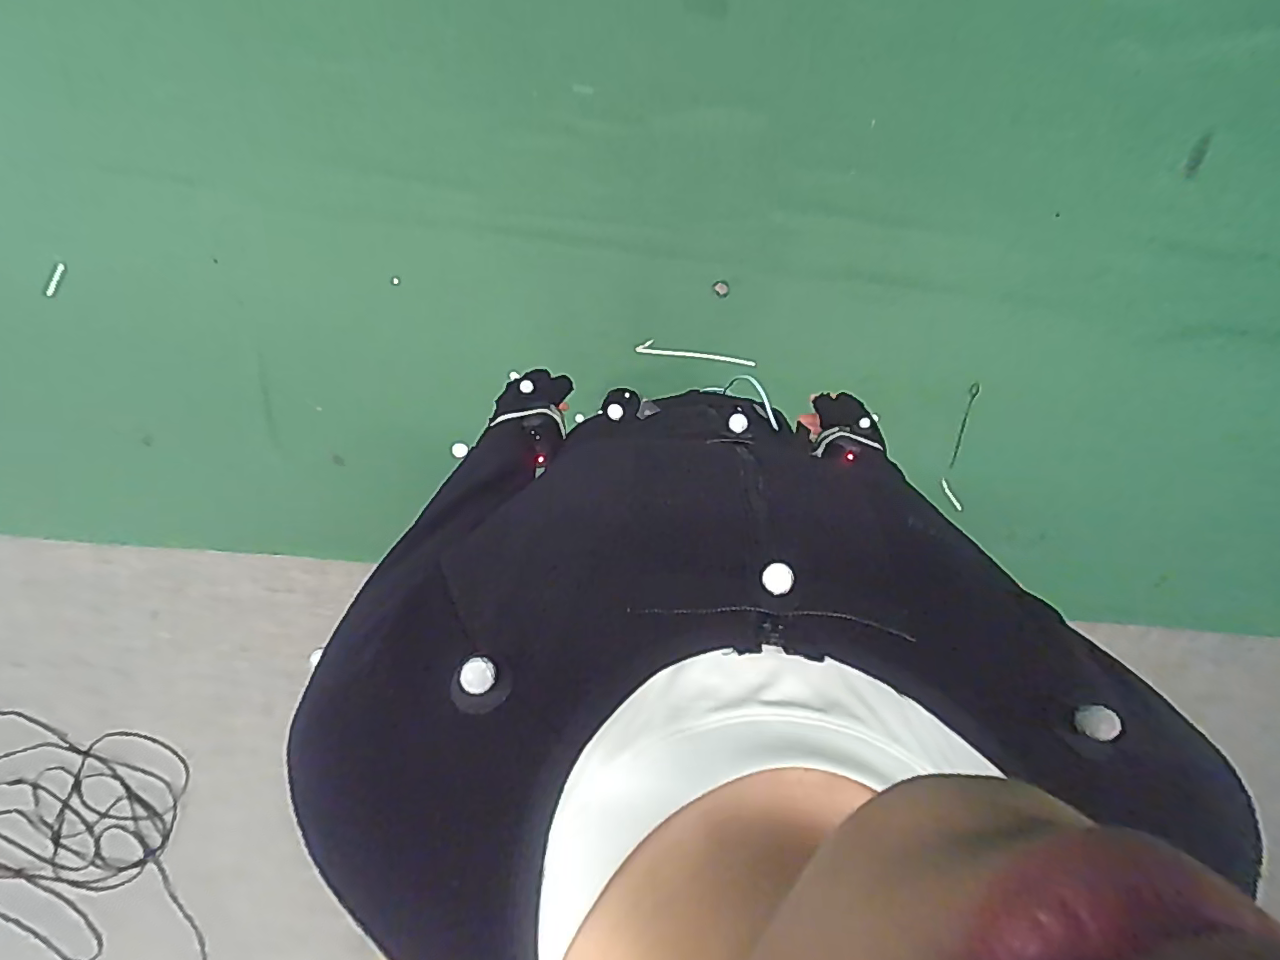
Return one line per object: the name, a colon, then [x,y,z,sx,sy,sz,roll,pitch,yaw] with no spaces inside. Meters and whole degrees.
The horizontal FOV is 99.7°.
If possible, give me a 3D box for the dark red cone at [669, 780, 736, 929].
dark red cone: [0.193,1.022,1.473,0.202,0.394,0.201,0,99,-2]
